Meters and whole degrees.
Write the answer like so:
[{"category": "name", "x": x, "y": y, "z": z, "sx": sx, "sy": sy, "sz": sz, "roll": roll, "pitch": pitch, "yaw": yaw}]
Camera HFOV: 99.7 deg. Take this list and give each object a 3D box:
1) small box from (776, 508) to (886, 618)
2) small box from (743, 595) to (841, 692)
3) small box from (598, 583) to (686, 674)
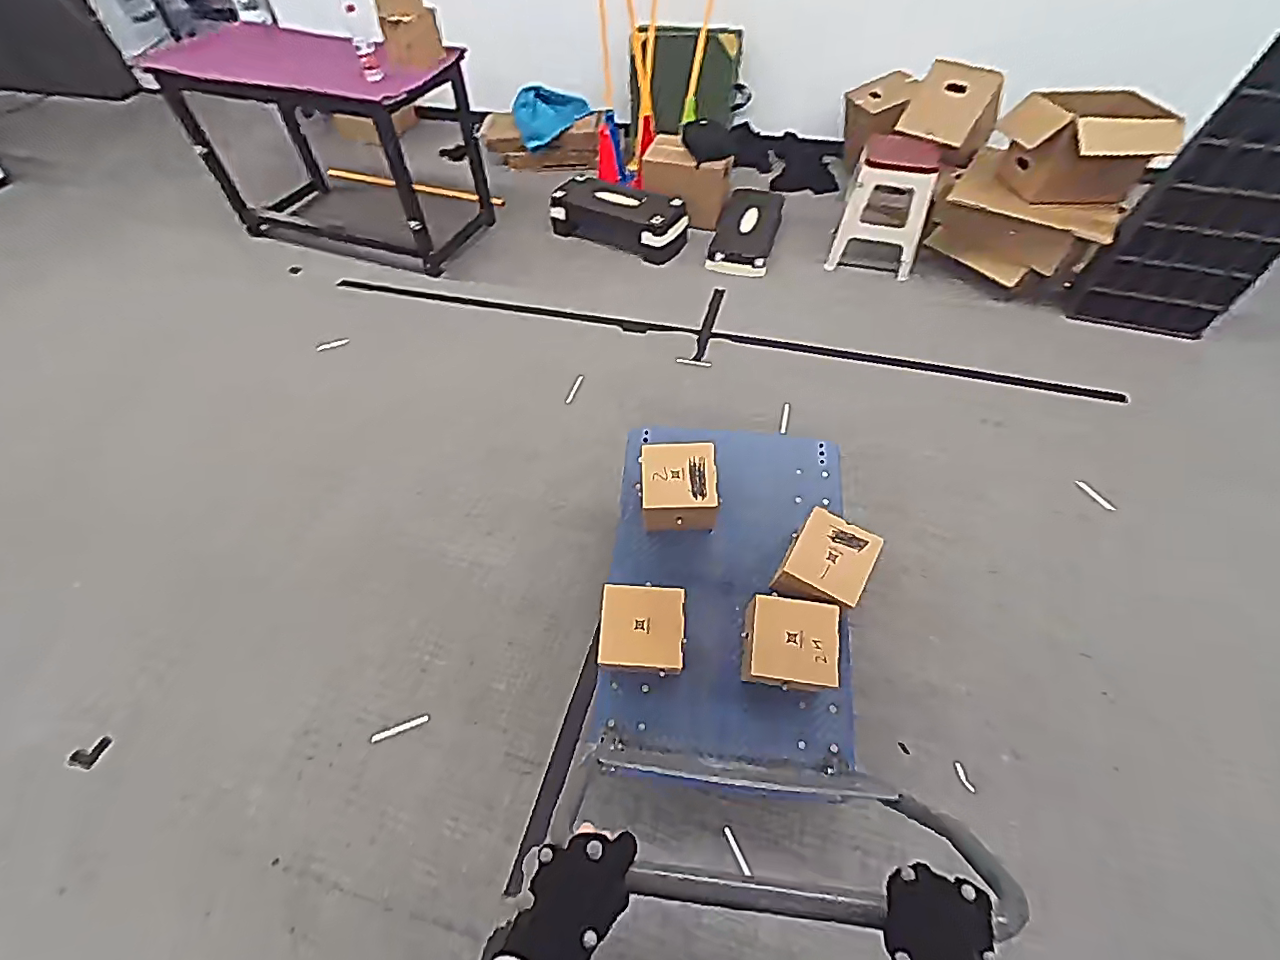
[{"category": "small box", "x": 0.430, "y": 0.199, "z": 1.244, "sx": 0.168, "sy": 0.176, "sz": 0.179, "roll": 29, "pitch": 71, "yaw": 15}, {"category": "small box", "x": 0.323, "y": 0.362, "z": 1.177, "sx": 0.179, "sy": 0.176, "sz": 0.168, "roll": 8, "pitch": 67, "yaw": 7}, {"category": "small box", "x": 0.009, "y": 0.336, "z": 1.205, "sx": 0.179, "sy": 0.176, "sz": 0.168, "roll": 3, "pitch": 66, "yaw": 3}]
